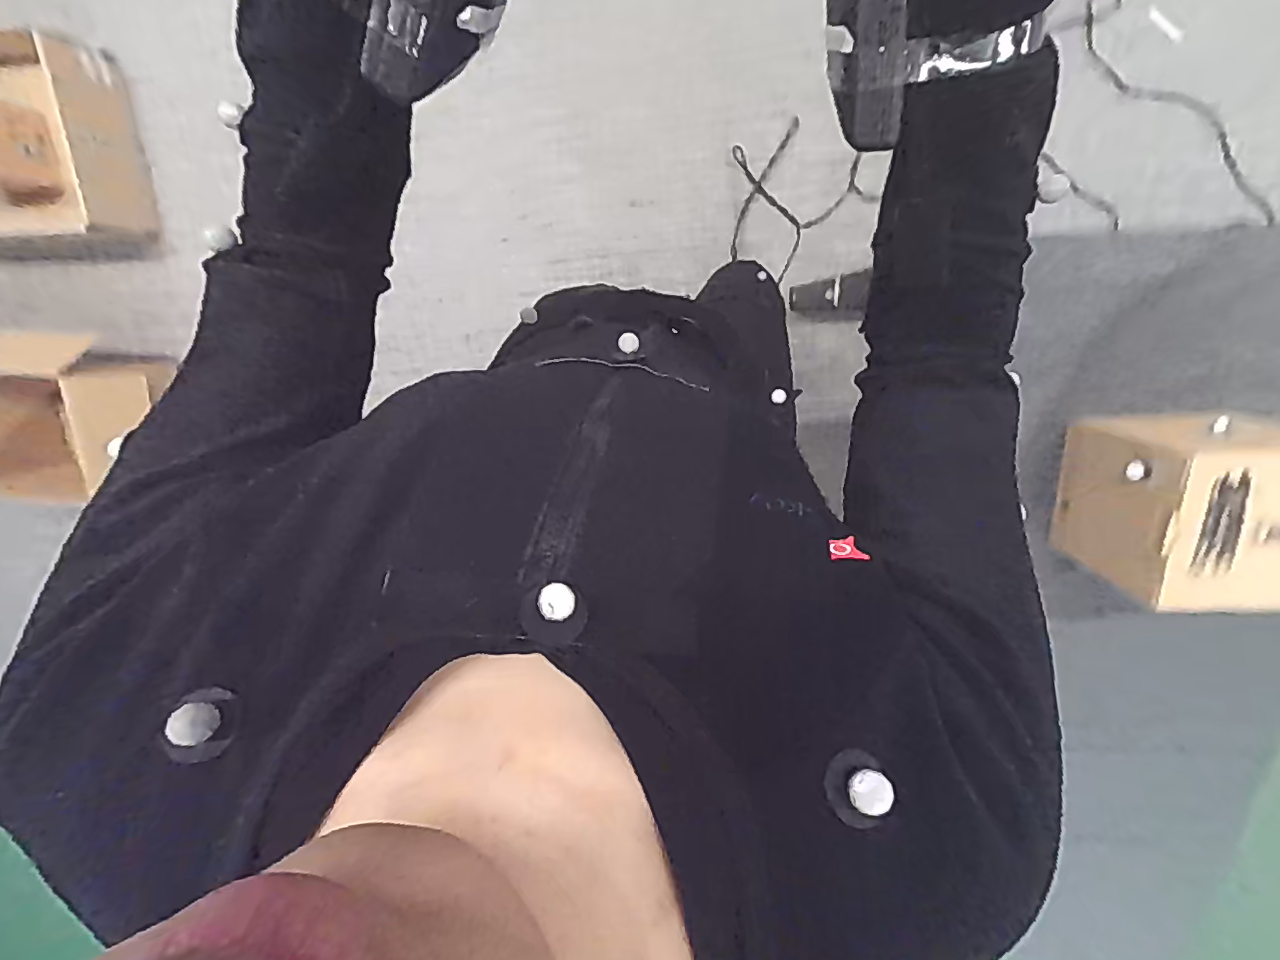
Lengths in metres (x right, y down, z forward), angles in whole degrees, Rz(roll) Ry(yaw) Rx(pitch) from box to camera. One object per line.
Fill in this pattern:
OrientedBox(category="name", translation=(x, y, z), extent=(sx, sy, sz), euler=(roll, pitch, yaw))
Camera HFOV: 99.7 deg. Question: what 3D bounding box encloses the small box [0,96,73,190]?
OrientedBox(category="small box", translation=(-1.492, -0.779, 1.249), extent=(0.179, 0.176, 0.168), euler=(1, 106, 5))
